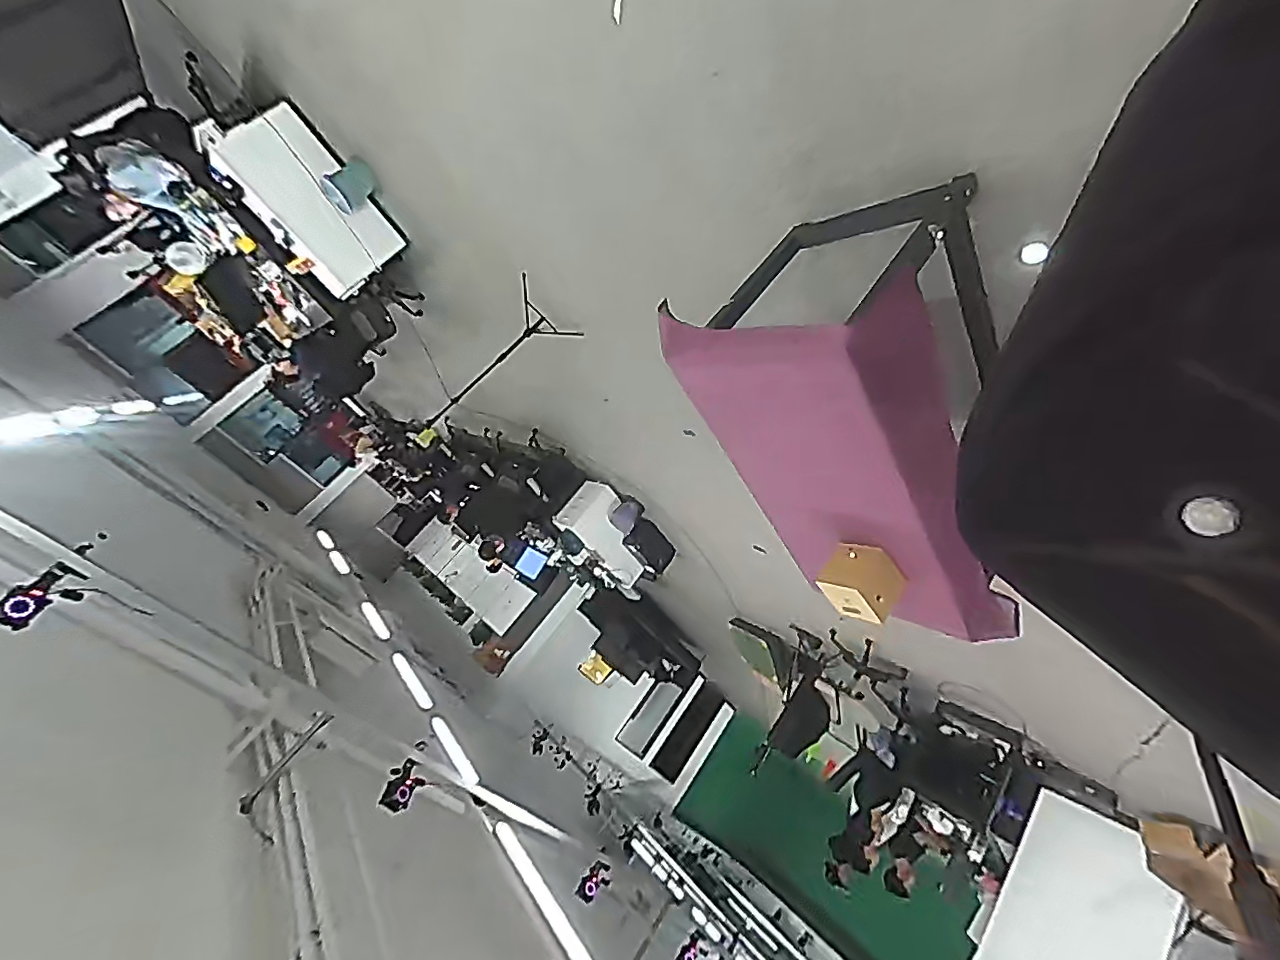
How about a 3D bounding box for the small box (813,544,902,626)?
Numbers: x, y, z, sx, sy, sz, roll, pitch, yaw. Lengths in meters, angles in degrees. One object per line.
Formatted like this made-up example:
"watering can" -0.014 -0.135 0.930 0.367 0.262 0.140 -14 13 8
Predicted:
"small box" 0.696 0.329 1.720 0.179 0.176 0.168 49 158 -21
